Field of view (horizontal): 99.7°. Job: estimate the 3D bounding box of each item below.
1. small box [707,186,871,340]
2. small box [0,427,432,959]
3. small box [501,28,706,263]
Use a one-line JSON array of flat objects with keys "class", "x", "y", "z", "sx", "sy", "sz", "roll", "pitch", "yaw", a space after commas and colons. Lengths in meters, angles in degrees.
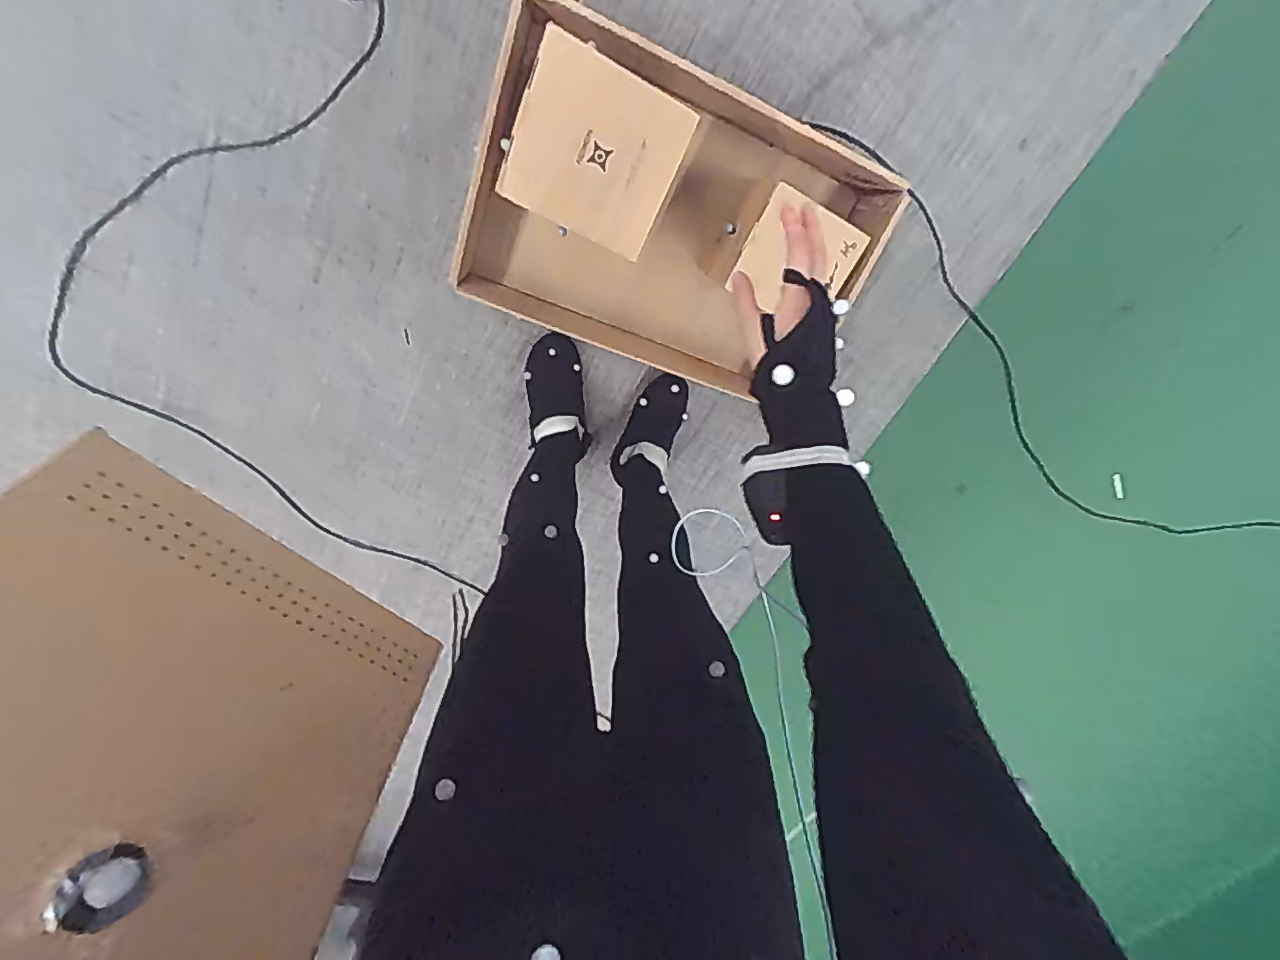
[{"class": "small box", "x": 0.233, "y": -0.361, "z": 0.898, "sx": 0.179, "sy": 0.176, "sz": 0.168, "roll": 23, "pitch": 114, "yaw": -18}, {"class": "small box", "x": -0.224, "y": 0.111, "z": 0.223, "sx": 0.168, "sy": 0.176, "sz": 0.179, "roll": -24, "pitch": 124, "yaw": 26}, {"class": "small box", "x": -0.050, "y": -0.390, "z": 0.657, "sx": 0.179, "sy": 0.176, "sz": 0.168, "roll": 21, "pitch": 115, "yaw": -19}]
